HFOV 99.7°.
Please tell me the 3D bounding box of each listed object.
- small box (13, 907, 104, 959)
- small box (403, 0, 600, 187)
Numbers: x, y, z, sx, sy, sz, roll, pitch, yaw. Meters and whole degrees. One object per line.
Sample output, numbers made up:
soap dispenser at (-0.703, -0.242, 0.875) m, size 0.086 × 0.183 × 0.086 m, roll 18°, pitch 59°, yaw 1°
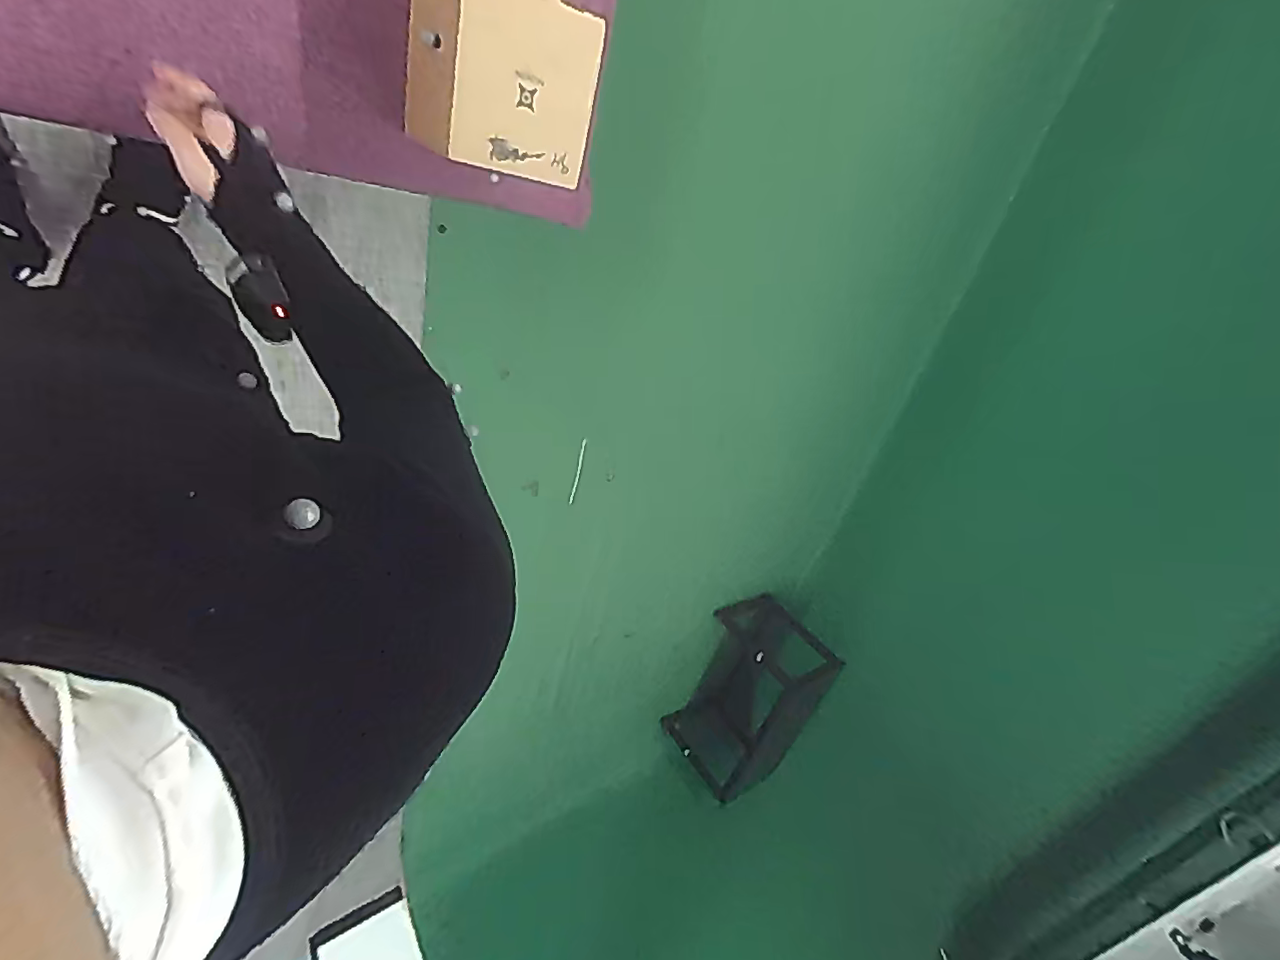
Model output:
small box at (-1.578, 1.308, 1.462) m, size 0.168 × 0.176 × 0.179 m, roll 6°, pitch 119°, yaw -43°
small box at (-0.173, -0.476, 0.641) m, size 0.168 × 0.176 × 0.179 m, roll -6°, pitch 127°, yaw -36°
